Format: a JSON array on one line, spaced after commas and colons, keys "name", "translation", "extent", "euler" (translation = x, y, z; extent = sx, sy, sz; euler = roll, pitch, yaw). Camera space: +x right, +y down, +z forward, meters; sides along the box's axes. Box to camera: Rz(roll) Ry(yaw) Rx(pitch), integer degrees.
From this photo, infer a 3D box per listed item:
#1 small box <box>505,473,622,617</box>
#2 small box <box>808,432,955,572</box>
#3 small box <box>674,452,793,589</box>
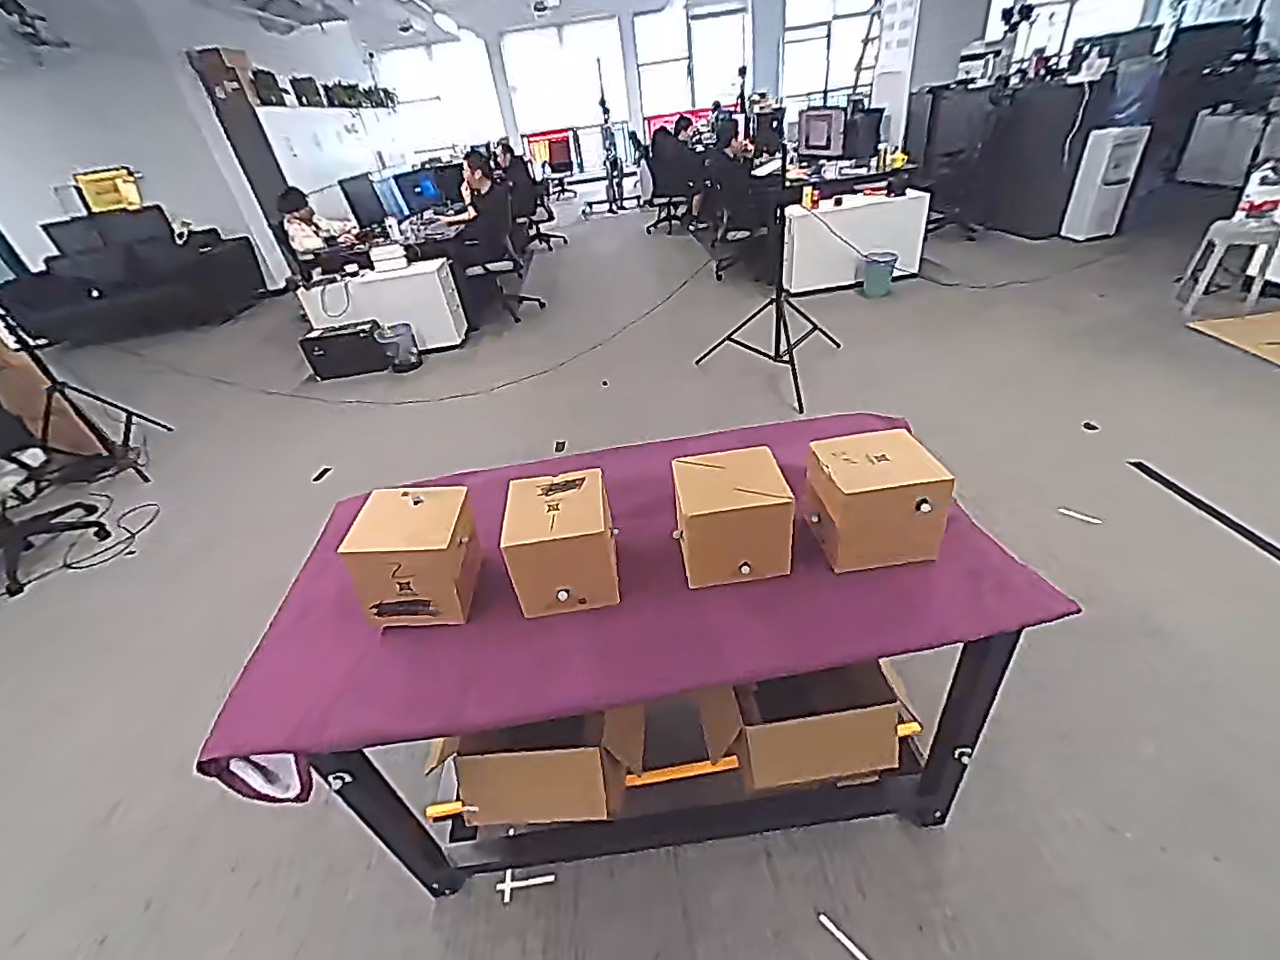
[{"name": "small box", "translation": [-0.127, 0.112, 0.949], "extent": [0.168, 0.176, 0.179], "euler": [-9, 35, 0]}, {"name": "small box", "translation": [0.403, 0.038, 0.936], "extent": [0.179, 0.176, 0.168], "euler": [-8, 32, 1]}, {"name": "small box", "translation": [0.158, 0.065, 0.948], "extent": [0.179, 0.176, 0.168], "euler": [-8, 33, 1]}]
